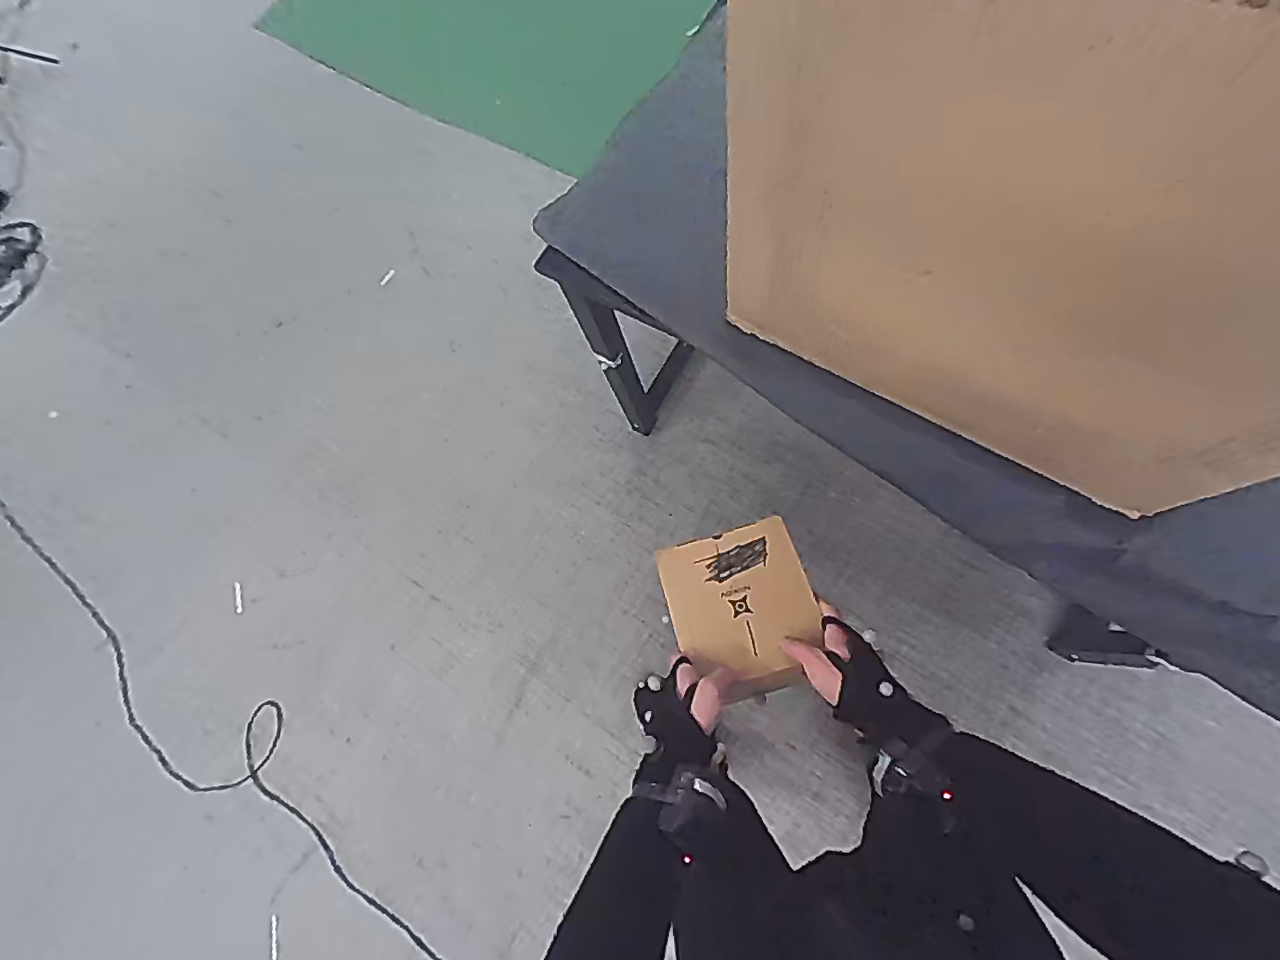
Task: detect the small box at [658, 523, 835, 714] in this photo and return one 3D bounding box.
[{"bbox_3d":[0.129,0.185,0.700,0.168,0.176,0.179,-17,59,2],"label":"small box"}]
